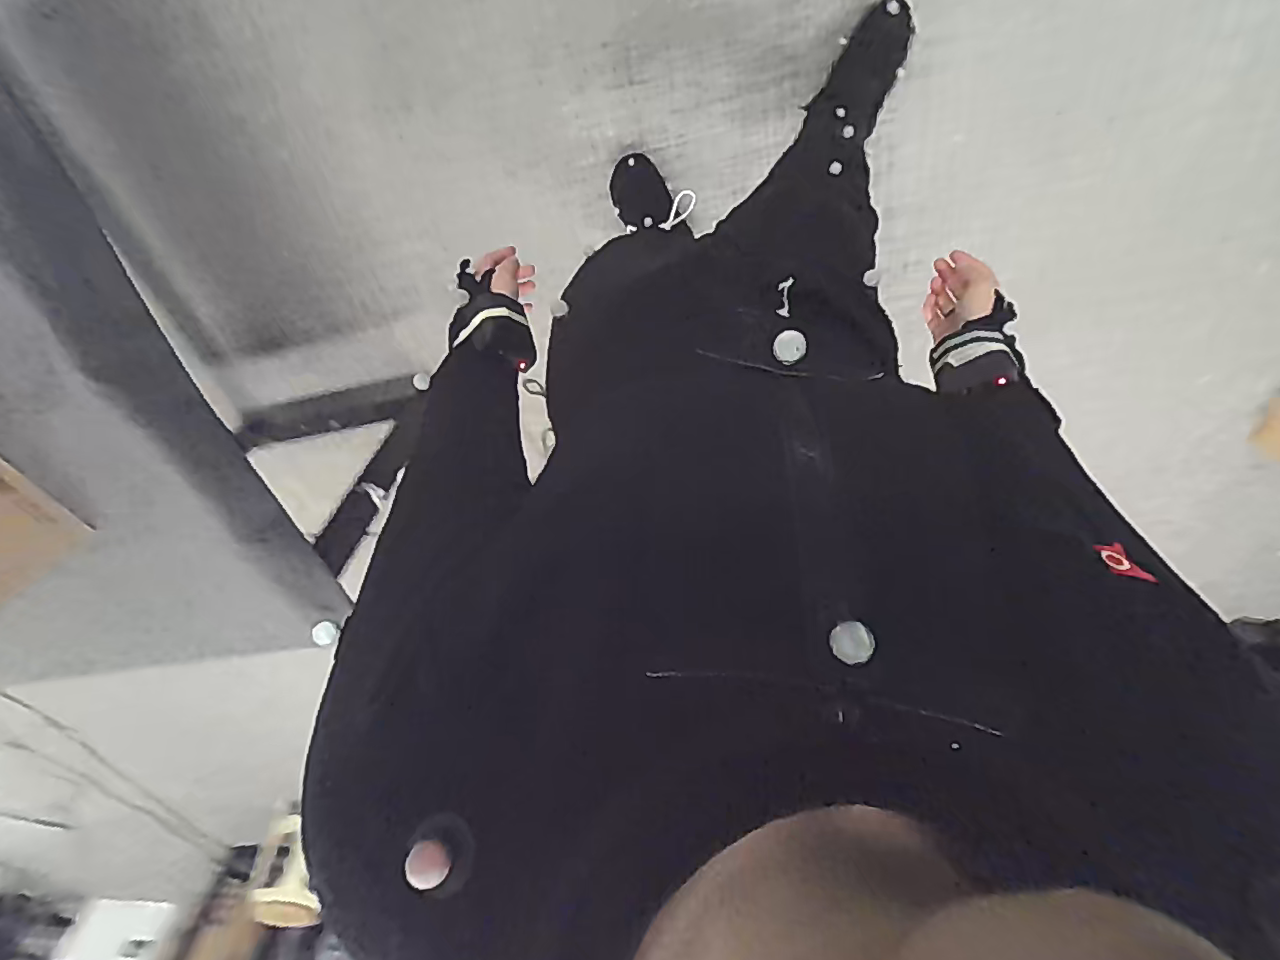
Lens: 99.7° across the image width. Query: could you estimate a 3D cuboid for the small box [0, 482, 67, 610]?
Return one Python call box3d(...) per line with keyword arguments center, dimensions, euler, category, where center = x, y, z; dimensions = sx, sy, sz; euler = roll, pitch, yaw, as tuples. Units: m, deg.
box3d(center=(-0.793, 0.086, 0.575), dimensions=(0.179, 0.176, 0.168), euler=(-16, 123, 13), category="small box")
